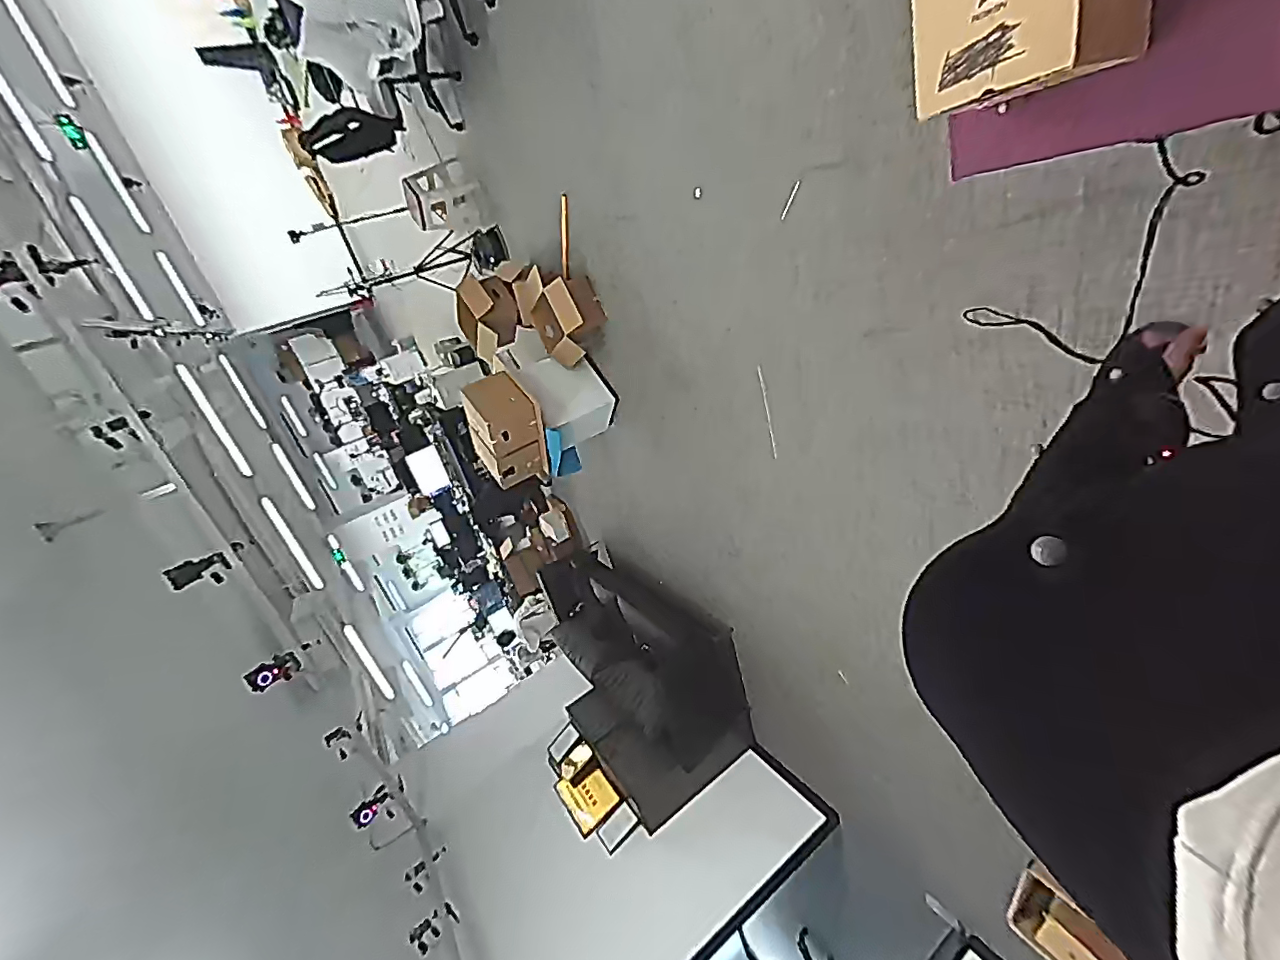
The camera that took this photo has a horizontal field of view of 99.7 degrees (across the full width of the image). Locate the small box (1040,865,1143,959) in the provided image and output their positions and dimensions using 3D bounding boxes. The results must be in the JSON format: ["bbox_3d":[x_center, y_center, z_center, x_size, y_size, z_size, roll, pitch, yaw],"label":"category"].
[{"bbox_3d":[1.349,1.304,1.616,0.168,0.176,0.179,37,147,47],"label":"small box"}]

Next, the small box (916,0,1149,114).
[{"bbox_3d":[0.438,-0.547,0.606,0.168,0.176,0.179,24,135,56],"label":"small box"}]
